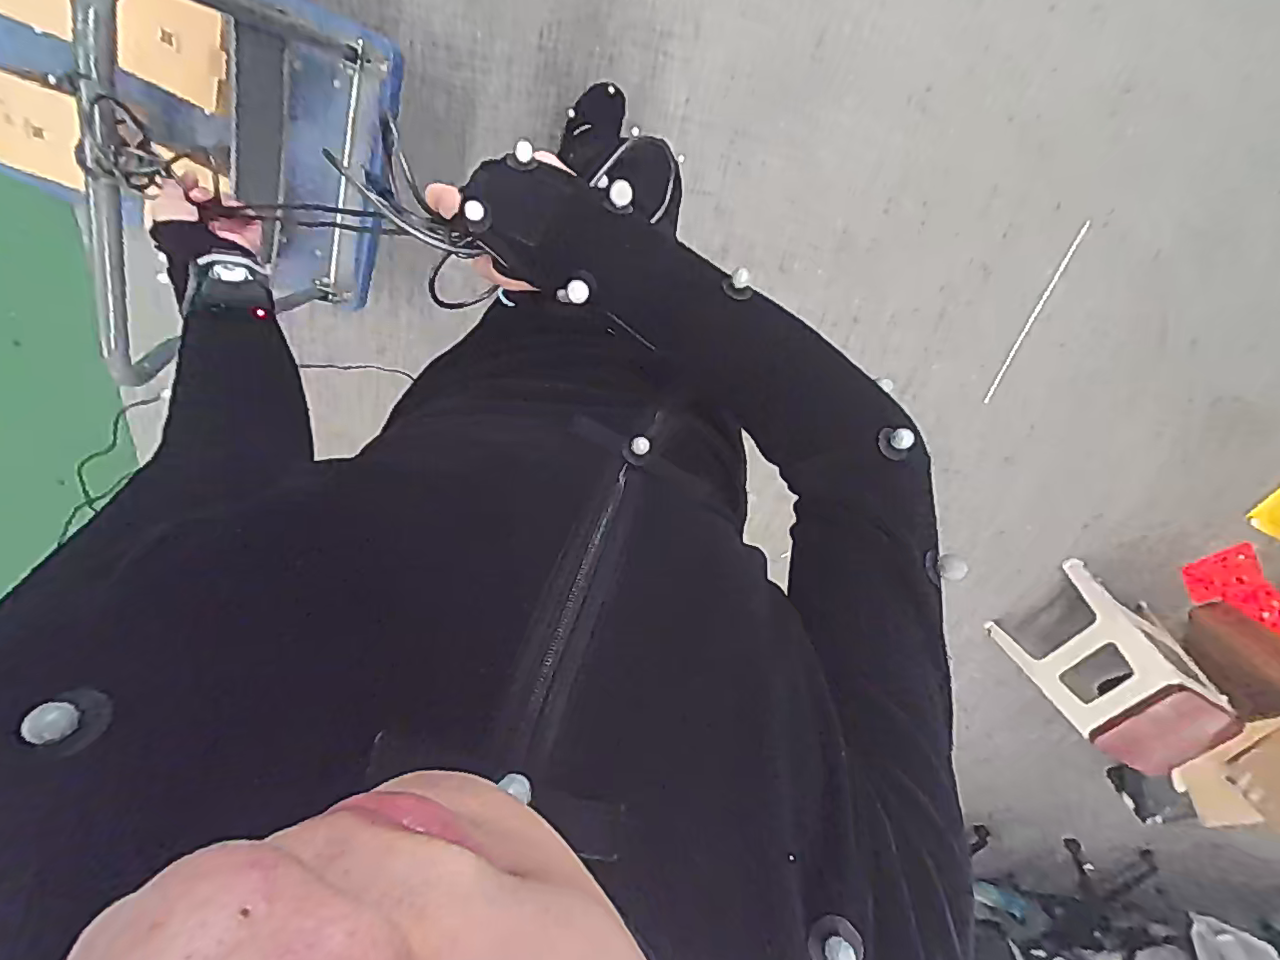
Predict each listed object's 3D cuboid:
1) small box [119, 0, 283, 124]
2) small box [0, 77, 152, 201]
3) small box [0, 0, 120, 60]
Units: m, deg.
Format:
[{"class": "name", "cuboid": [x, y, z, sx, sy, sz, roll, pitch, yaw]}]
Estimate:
[{"class": "small box", "cuboid": [-0.824, -0.803, 1.025, 0.179, 0.176, 0.168, 22, 118, -10]}, {"class": "small box", "cuboid": [-1.147, -0.691, 1.102, 0.179, 0.176, 0.168, 18, 118, -7]}, {"class": "small box", "cuboid": [-1.048, -0.895, 0.982, 0.179, 0.176, 0.168, 19, 119, -9]}]
